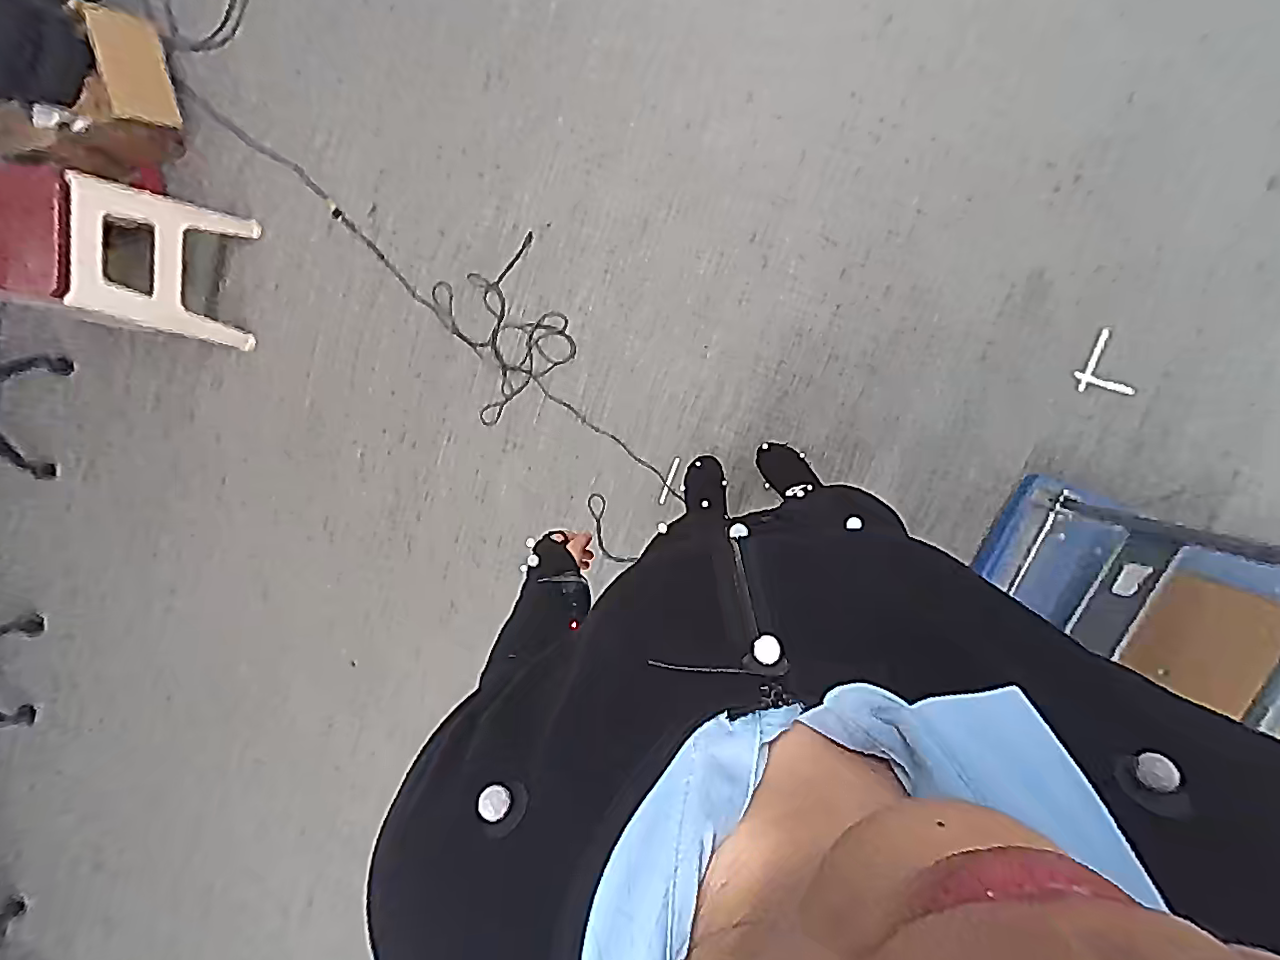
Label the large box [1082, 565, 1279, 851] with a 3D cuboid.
[{"bbox_3d":[1.165,0.428,1.018,0.320,0.320,0.408,24,98,6],"label":"large box"}]
